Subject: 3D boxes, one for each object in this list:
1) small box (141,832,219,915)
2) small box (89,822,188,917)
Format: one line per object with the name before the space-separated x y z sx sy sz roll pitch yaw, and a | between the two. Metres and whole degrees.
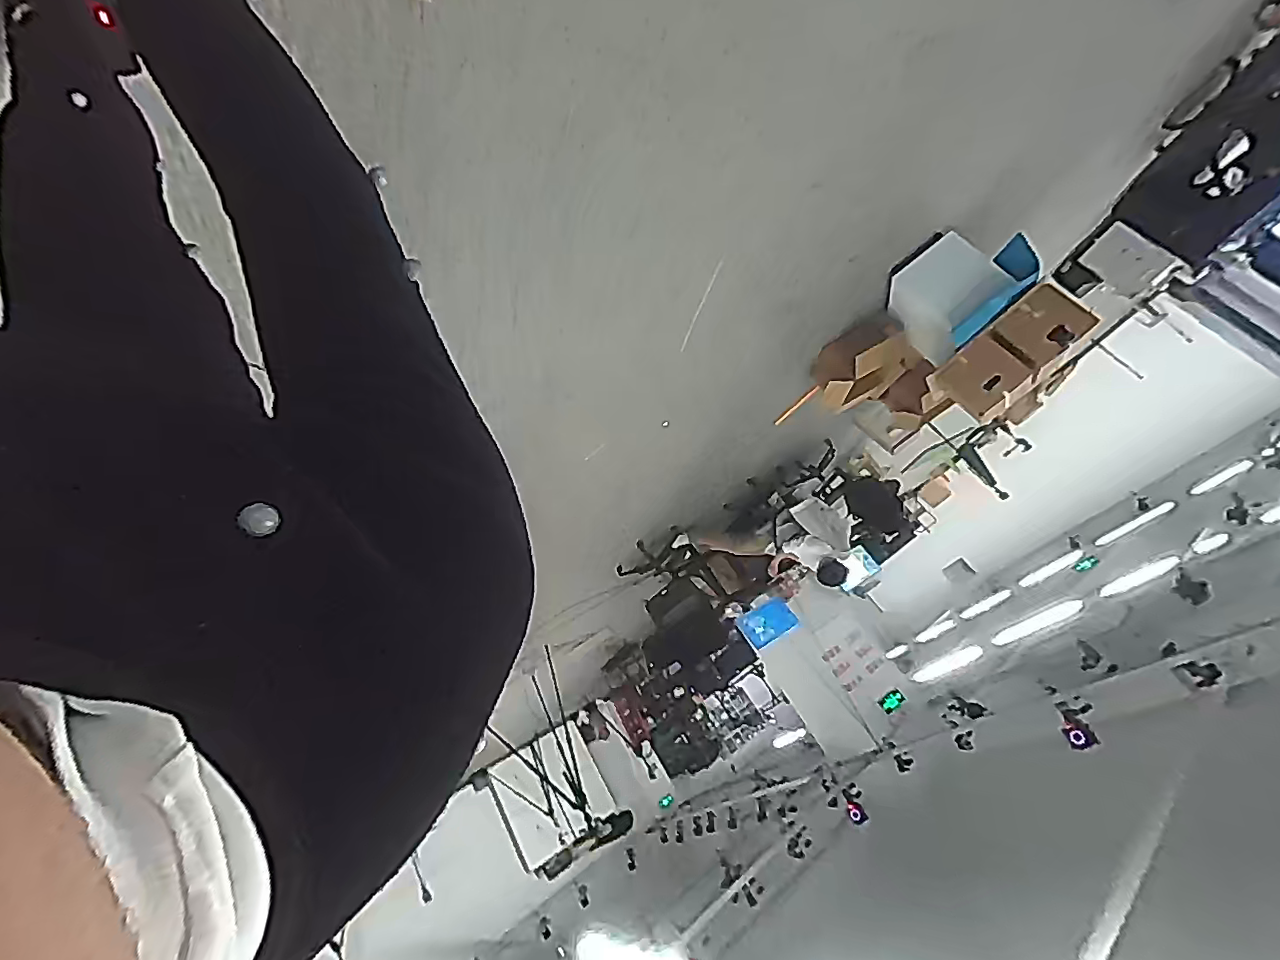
small box | -1.579 1.340 1.848 0.168 0.176 0.179 -22 153 -33
small box | -1.484 1.151 1.606 0.168 0.176 0.179 -20 154 -34
